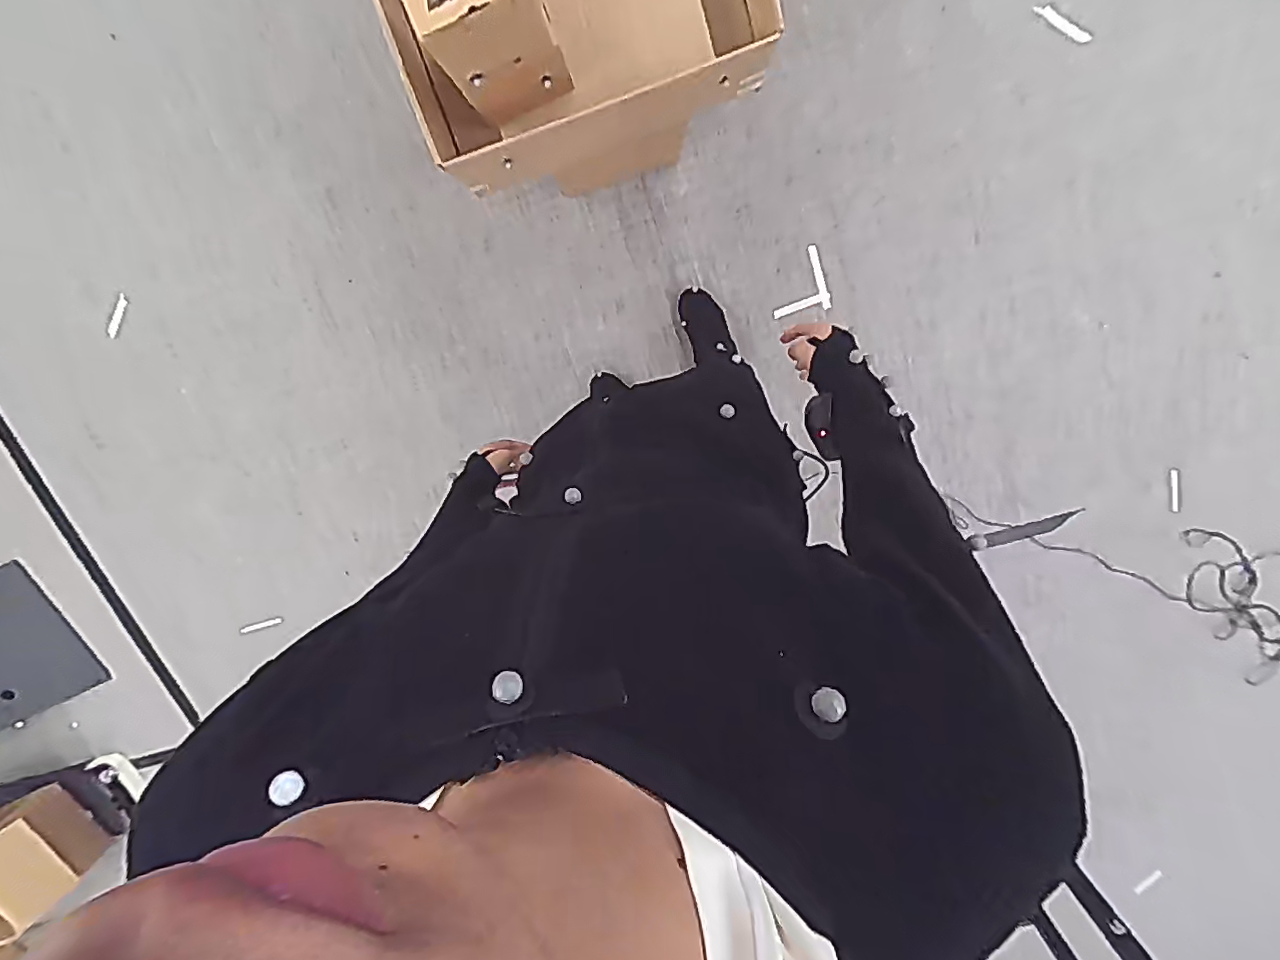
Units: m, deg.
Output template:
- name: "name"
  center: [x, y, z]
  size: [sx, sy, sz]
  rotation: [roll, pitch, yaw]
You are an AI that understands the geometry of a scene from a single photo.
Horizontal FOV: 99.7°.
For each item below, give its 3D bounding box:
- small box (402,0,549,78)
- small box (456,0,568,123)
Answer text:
- name: "small box"
  center: [-0.244, -0.708, 0.758]
  size: [0.168, 0.176, 0.179]
  rotation: [-20, 103, 7]
- name: "small box"
  center: [-0.233, -0.750, 0.917]
  size: [0.179, 0.176, 0.168]
  rotation: [-21, 104, 9]
